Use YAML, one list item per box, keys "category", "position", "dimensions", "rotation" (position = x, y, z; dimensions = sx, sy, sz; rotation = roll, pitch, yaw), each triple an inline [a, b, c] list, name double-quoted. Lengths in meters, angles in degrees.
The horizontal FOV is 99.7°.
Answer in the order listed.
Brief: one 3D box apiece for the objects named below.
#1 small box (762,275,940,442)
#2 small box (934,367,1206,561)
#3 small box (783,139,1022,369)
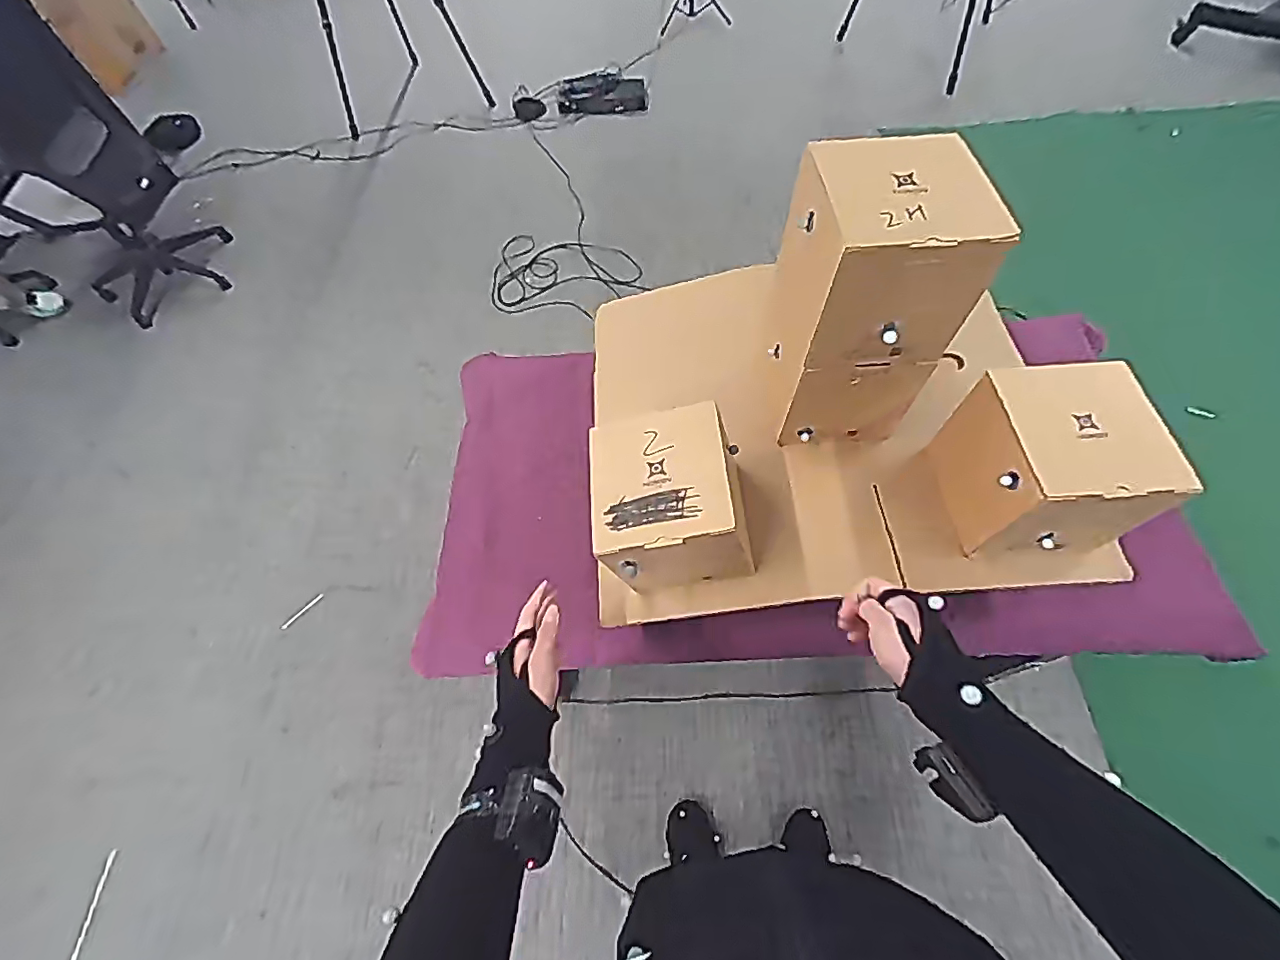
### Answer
- category: "small box"
  position: [0.274, -0.164, 0.748]
  dimensions: [0.168, 0.176, 0.179]
  rotation: [-3, 60, -1]
- category: "small box"
  position: [0.493, -0.014, 0.660]
  dimensions: [0.168, 0.176, 0.179]
  rotation: [-3, 61, 0]
- category: "small box"
  position: [0.268, -0.247, 0.607]
  dimensions: [0.168, 0.176, 0.179]
  rotation: [-4, 61, 0]
